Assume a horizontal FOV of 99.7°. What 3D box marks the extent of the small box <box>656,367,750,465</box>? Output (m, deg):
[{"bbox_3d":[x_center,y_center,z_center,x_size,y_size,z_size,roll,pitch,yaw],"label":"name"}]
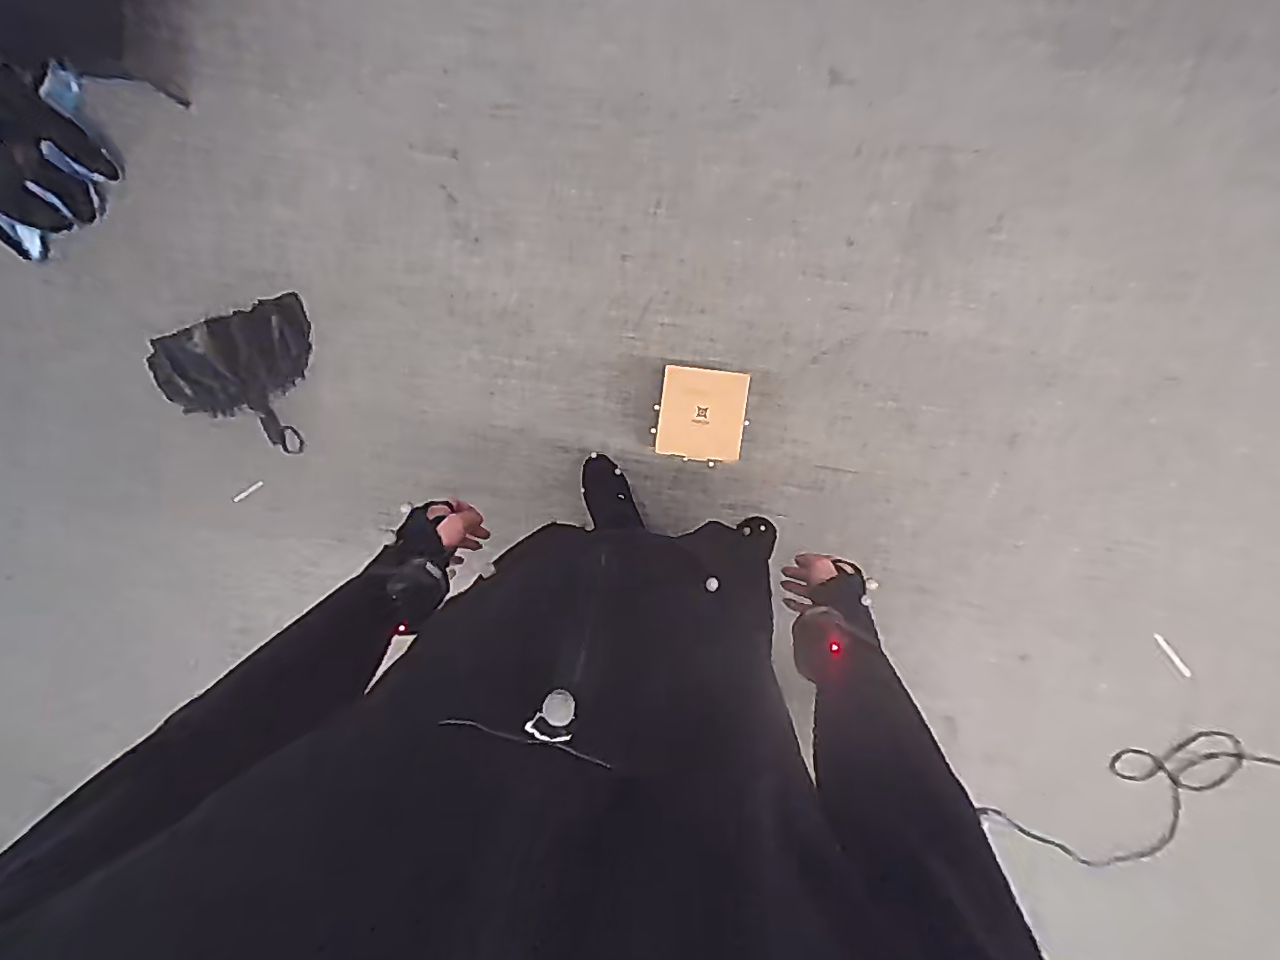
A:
[{"bbox_3d":[0.128,-0.129,1.122,0.168,0.176,0.179,6,94,4],"label":"small box"}]
